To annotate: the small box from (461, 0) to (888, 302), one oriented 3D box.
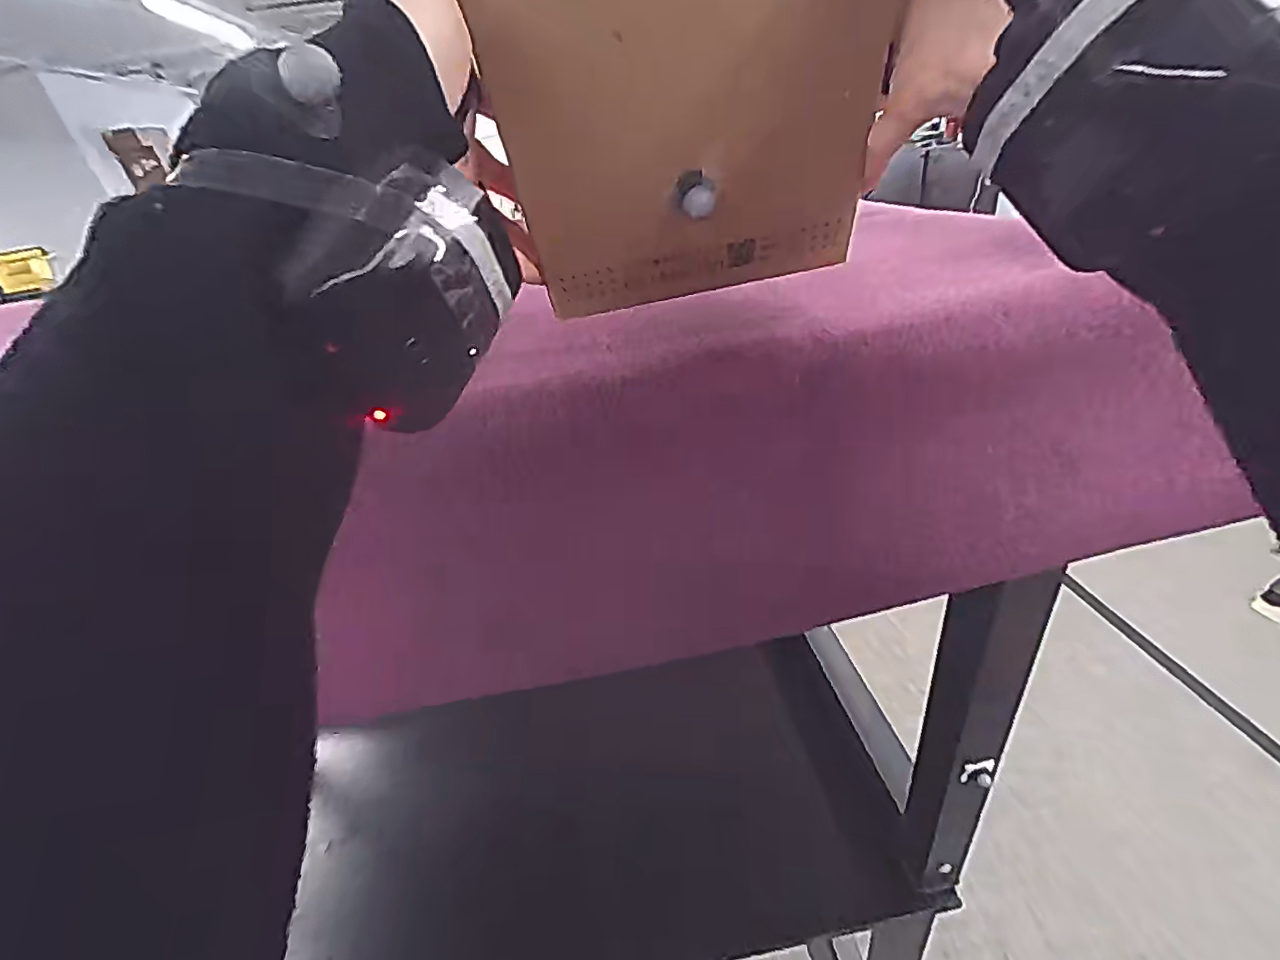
[{"bbox_3d":[0.008,-0.222,0.280,0.168,0.176,0.179,-12,53,1],"label":"small box"}]
